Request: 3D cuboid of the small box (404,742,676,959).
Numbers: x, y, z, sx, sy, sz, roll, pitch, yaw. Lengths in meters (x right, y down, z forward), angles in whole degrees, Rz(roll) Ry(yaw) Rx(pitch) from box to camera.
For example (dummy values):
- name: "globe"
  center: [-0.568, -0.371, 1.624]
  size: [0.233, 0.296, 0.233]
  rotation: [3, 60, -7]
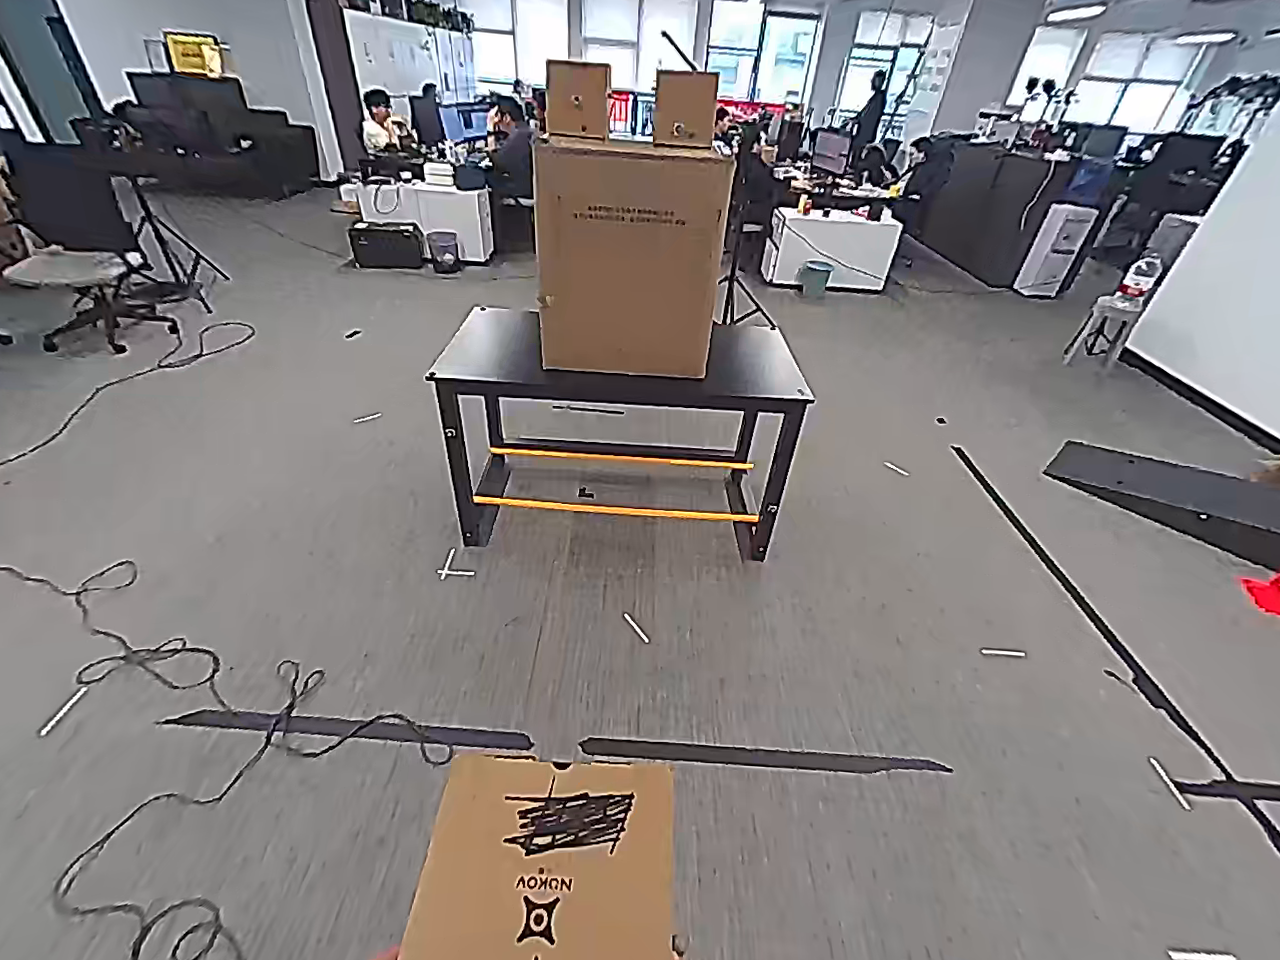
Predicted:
- name: "small box"
  center: [-0.061, 0.324, 0.407]
  size: [0.168, 0.176, 0.179]
  rotation: [2, 42, 1]

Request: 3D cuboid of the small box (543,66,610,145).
- name: "small box"
  center: [-0.175, -1.054, 1.524]
  size: [0.168, 0.176, 0.179]
  rotation: [4, 36, -3]

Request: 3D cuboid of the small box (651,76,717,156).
- name: "small box"
  center: [0.118, -1.011, 1.500]
  size: [0.168, 0.176, 0.179]
  rotation: [3, 36, 1]
